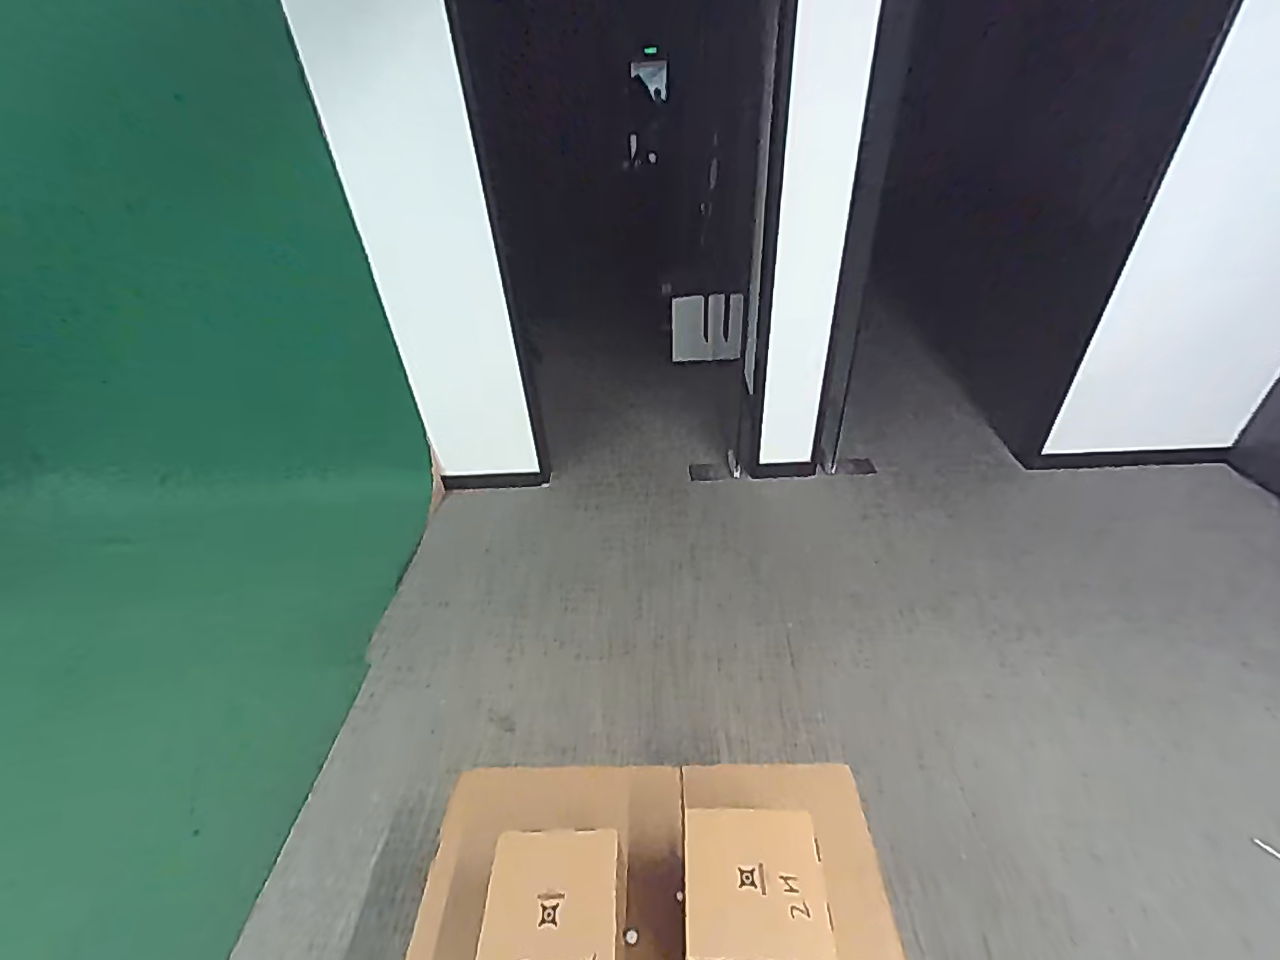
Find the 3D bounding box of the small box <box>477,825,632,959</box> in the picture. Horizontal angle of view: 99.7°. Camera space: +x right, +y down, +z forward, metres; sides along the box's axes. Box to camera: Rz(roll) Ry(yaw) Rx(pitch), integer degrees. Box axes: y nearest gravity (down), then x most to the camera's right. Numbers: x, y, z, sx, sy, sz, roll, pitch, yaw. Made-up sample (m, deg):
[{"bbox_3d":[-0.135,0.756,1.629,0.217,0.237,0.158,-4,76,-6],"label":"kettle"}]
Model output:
[{"bbox_3d":[-0.101,0.592,0.715,0.168,0.176,0.179,-5,34,3],"label":"small box"}]
